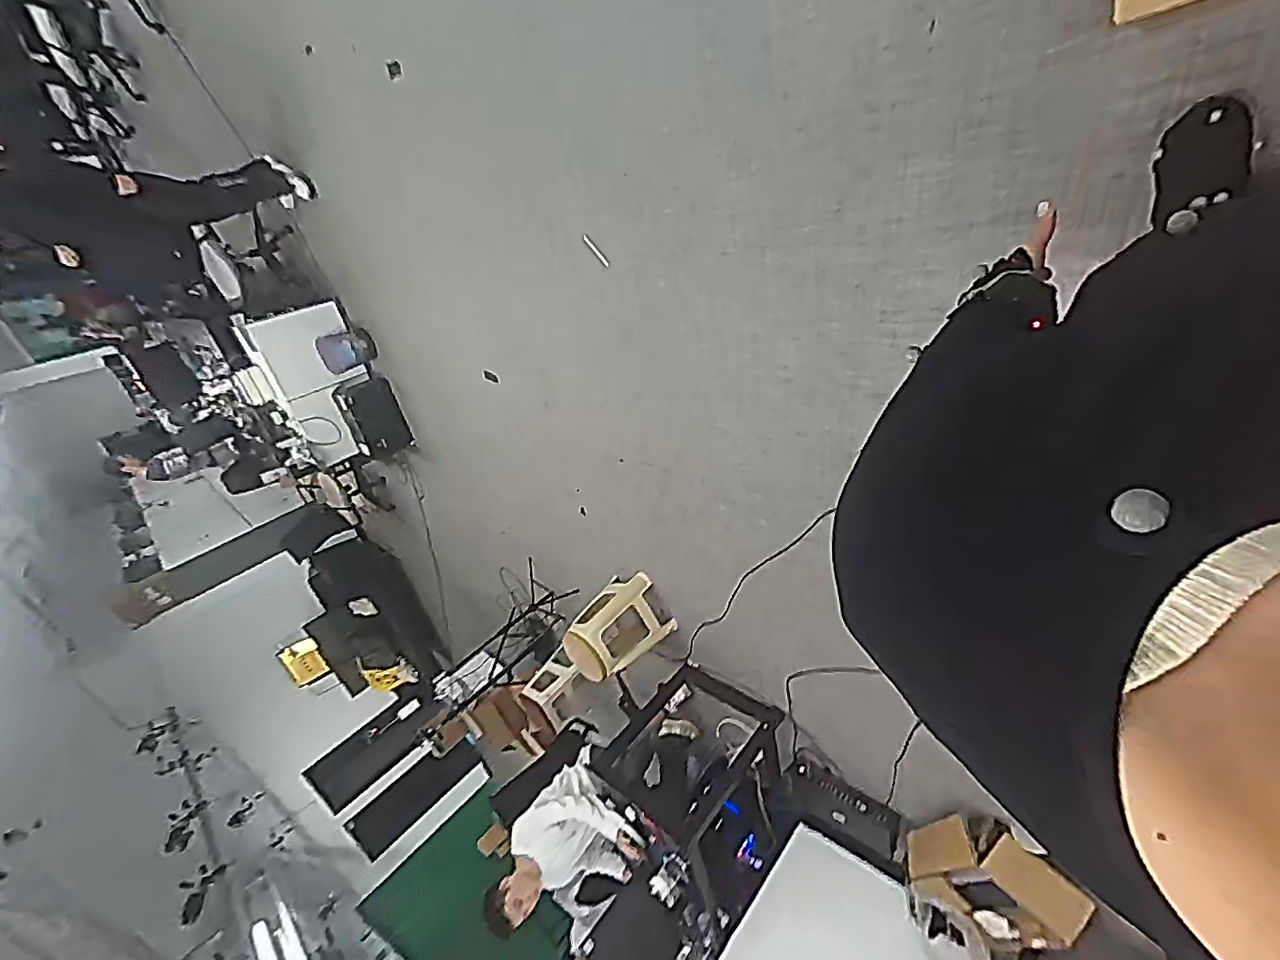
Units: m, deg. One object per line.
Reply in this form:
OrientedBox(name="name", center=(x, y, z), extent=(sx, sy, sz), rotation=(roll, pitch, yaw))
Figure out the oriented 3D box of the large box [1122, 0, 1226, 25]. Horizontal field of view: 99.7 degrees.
OrientedBox(name="large box", center=(0.805, -0.762, 0.572), extent=(0.408, 0.320, 0.320), rotation=(10, 126, 44))
